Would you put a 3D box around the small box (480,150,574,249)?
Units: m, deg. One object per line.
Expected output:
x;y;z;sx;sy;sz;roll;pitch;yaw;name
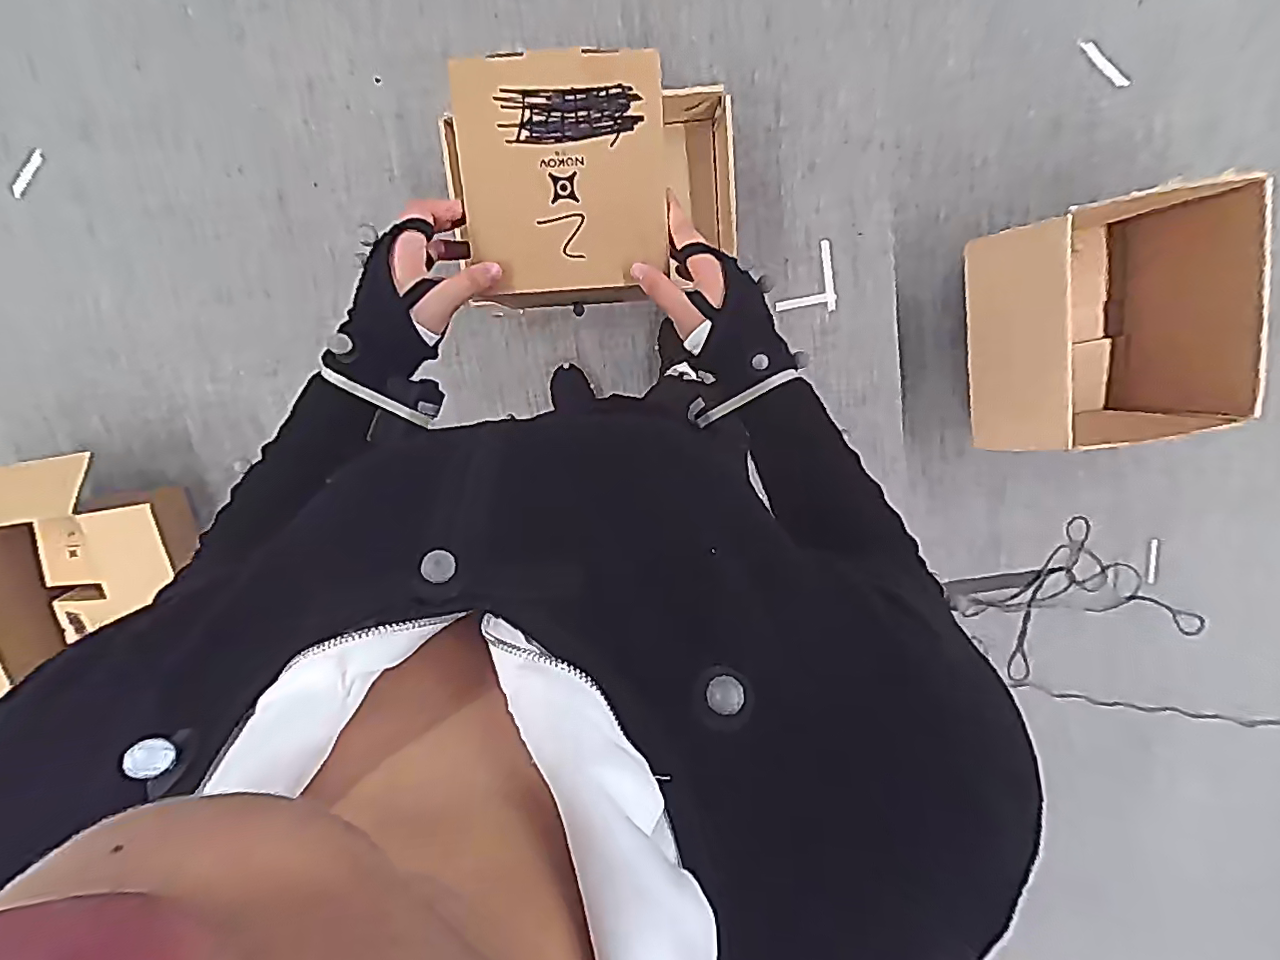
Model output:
-0.249;-0.631;1.234;0.179;0.176;0.168;-5;105;-2;small box
